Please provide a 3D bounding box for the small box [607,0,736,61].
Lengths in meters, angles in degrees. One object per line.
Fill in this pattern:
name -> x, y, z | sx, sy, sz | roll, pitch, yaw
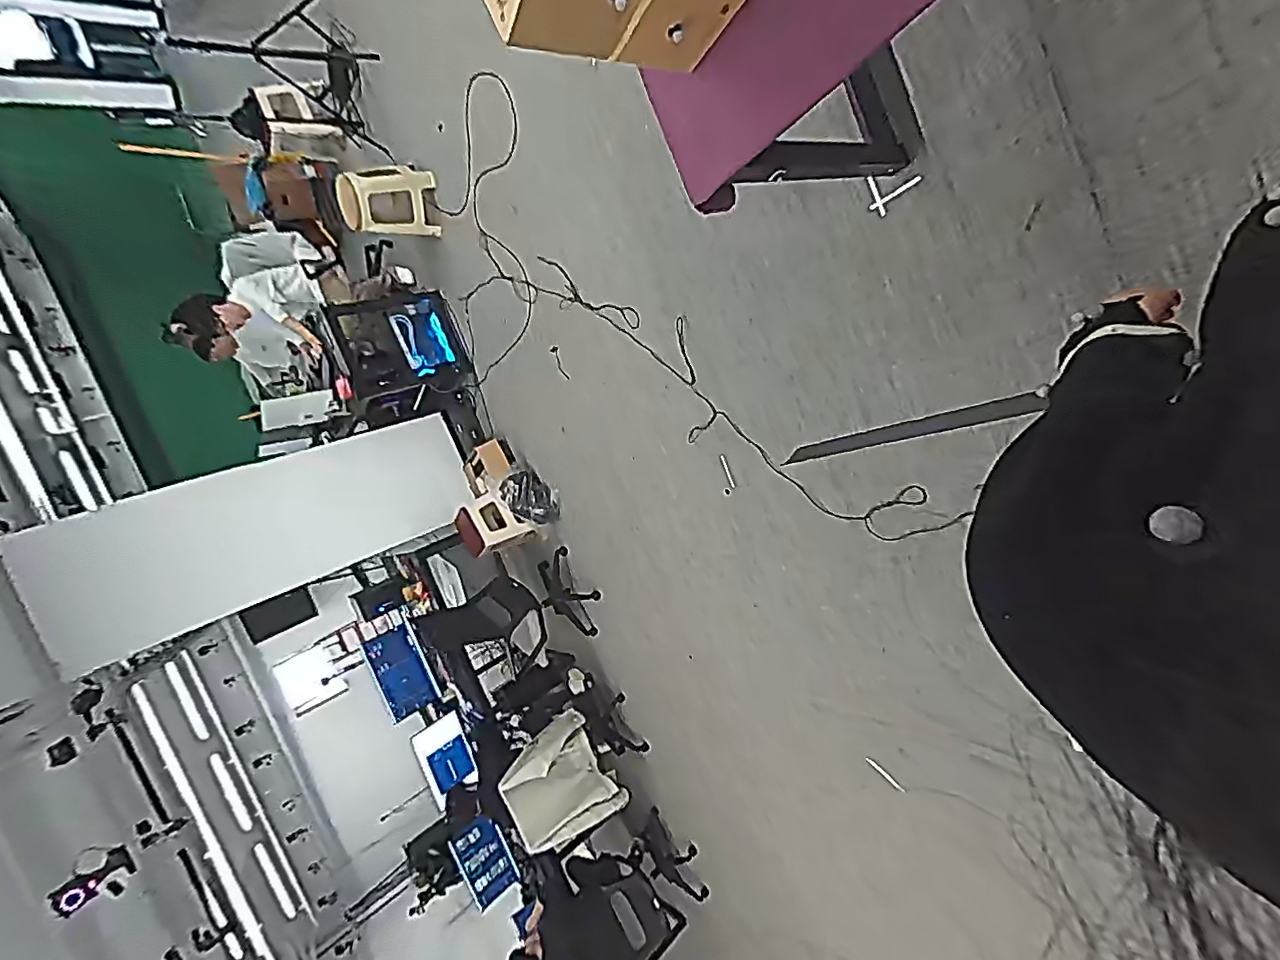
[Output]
small box -> 0.030, -0.716, 0.737 | 0.168, 0.176, 0.179 | -22, 93, 55

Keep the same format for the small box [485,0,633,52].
small box -> -0.097, -0.665, 0.647 | 0.179, 0.176, 0.168 | -25, 90, 54
